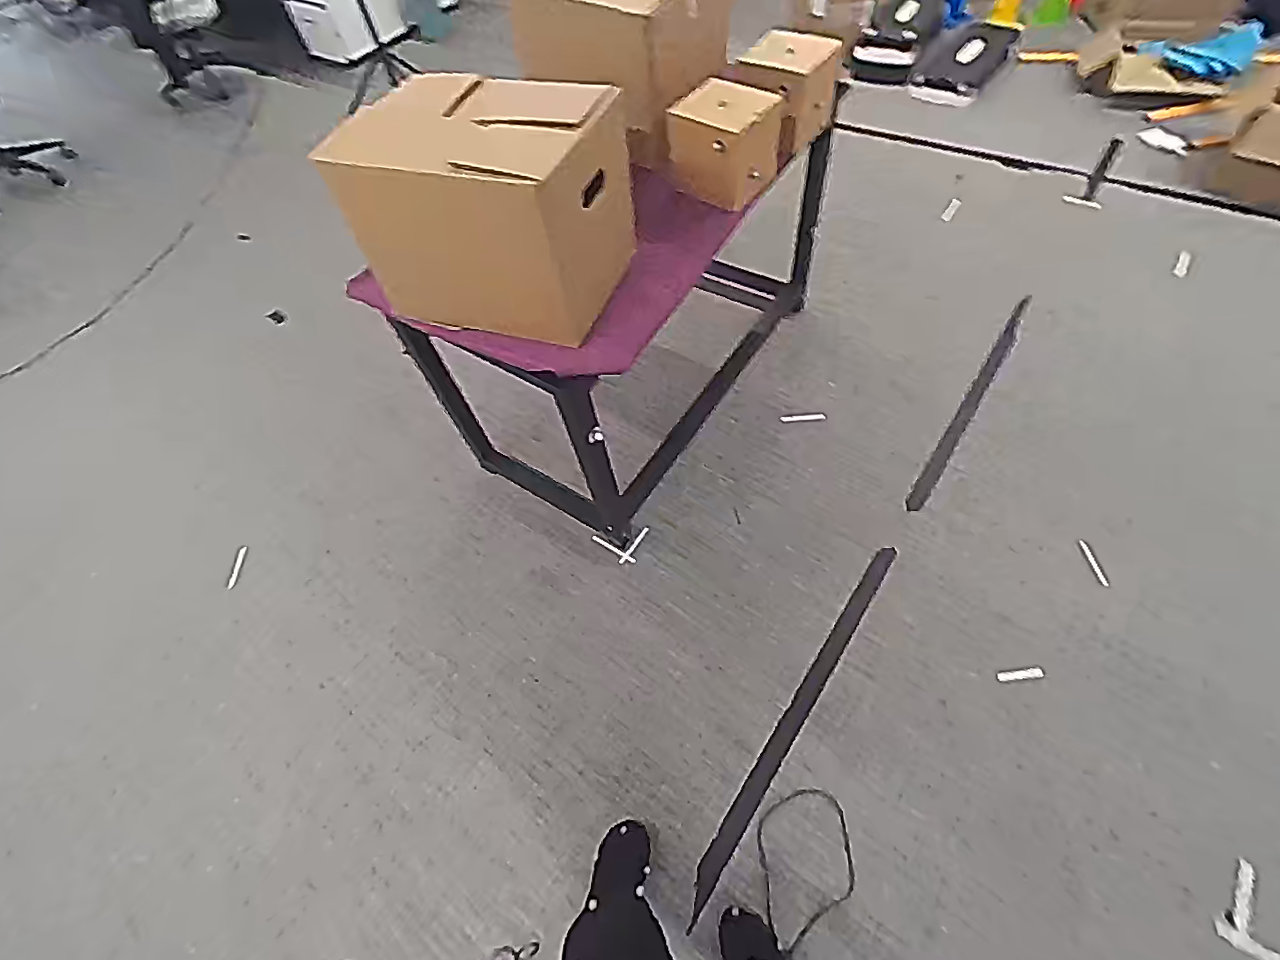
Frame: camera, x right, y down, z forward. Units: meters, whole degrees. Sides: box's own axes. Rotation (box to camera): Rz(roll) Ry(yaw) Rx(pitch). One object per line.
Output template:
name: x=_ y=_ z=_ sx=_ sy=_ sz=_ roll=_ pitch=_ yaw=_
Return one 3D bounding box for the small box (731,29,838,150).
small box: x=0.328 y=-0.901 z=1.255 sx=0.179 sy=0.176 sz=0.168 roll=31 pitch=66 yaw=24
